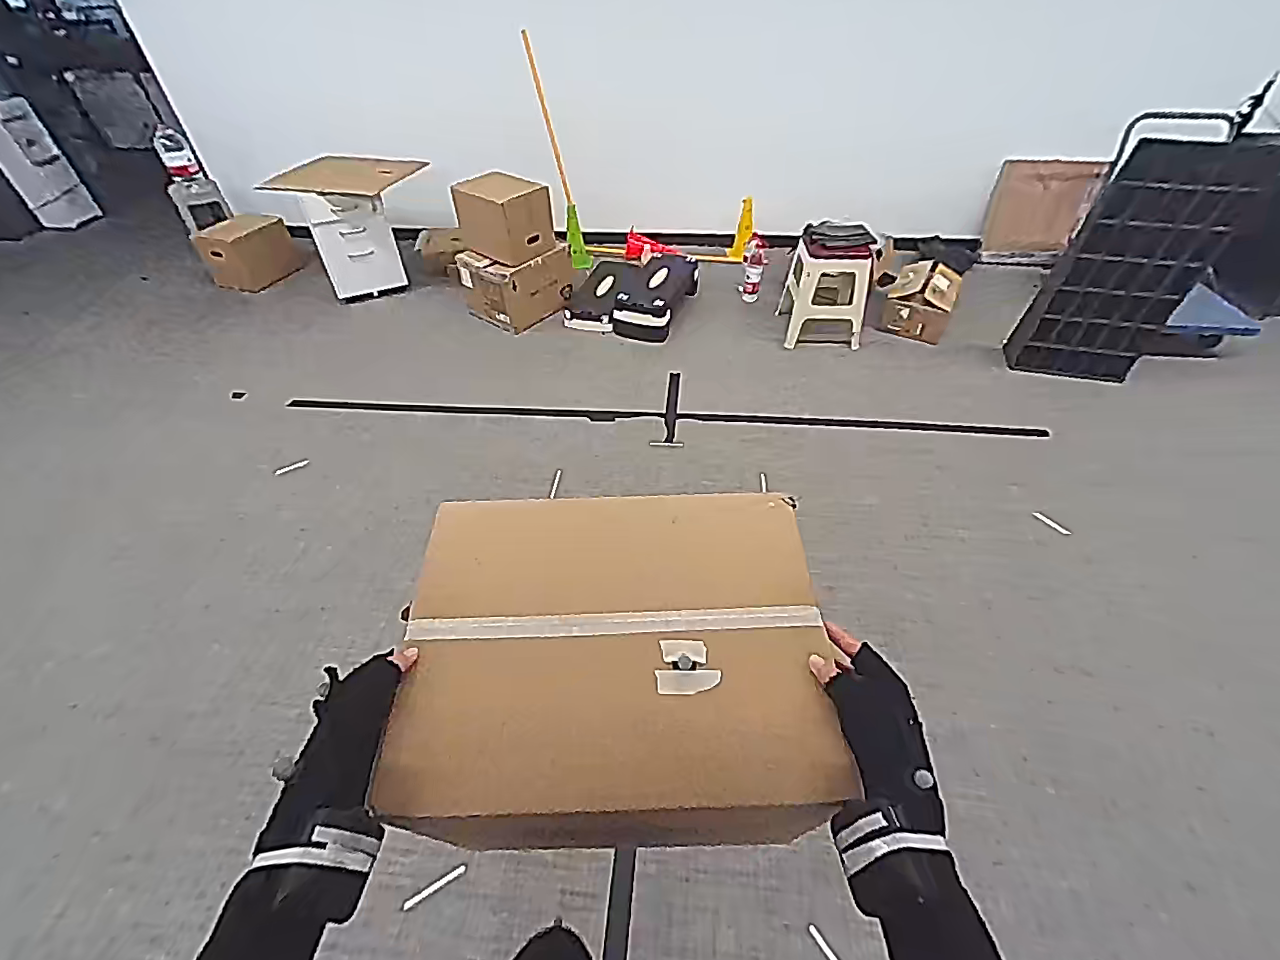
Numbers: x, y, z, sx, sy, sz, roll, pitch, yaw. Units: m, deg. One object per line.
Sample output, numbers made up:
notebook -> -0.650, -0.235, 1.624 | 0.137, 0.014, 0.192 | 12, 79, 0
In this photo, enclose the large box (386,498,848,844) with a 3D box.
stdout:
large box -> -0.023, 0.240, 0.665 | 0.408, 0.320, 0.320 | -1, 52, 0
